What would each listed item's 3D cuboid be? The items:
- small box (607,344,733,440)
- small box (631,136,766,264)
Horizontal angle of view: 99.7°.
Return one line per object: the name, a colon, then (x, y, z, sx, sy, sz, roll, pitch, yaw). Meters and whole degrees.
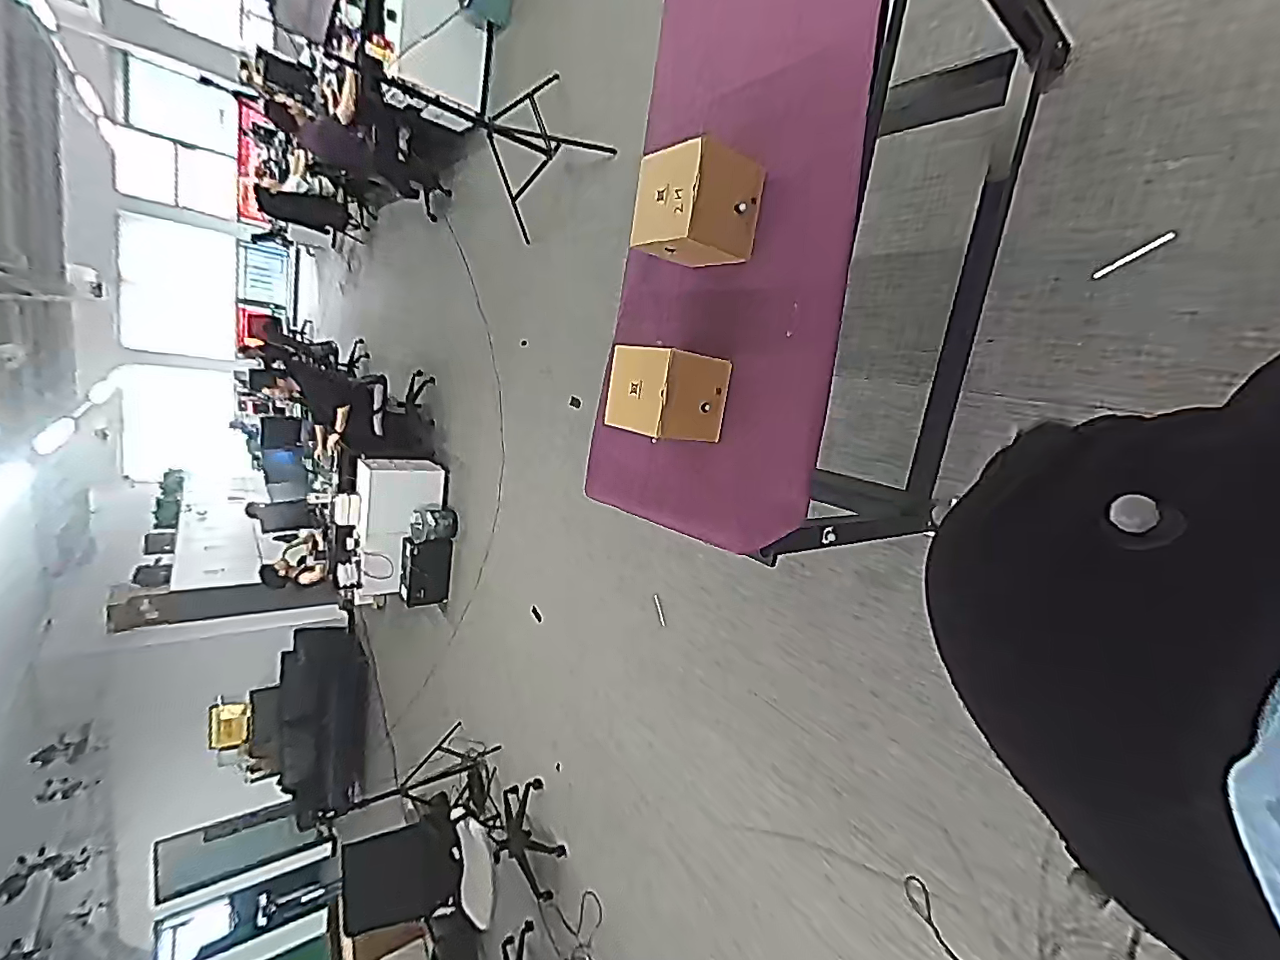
small box: (0.059, -0.177, 1.102, 0.179, 0.176, 0.168, 20, 105, 49)
small box: (0.110, -0.521, 1.037, 0.179, 0.176, 0.168, 22, 107, 49)
